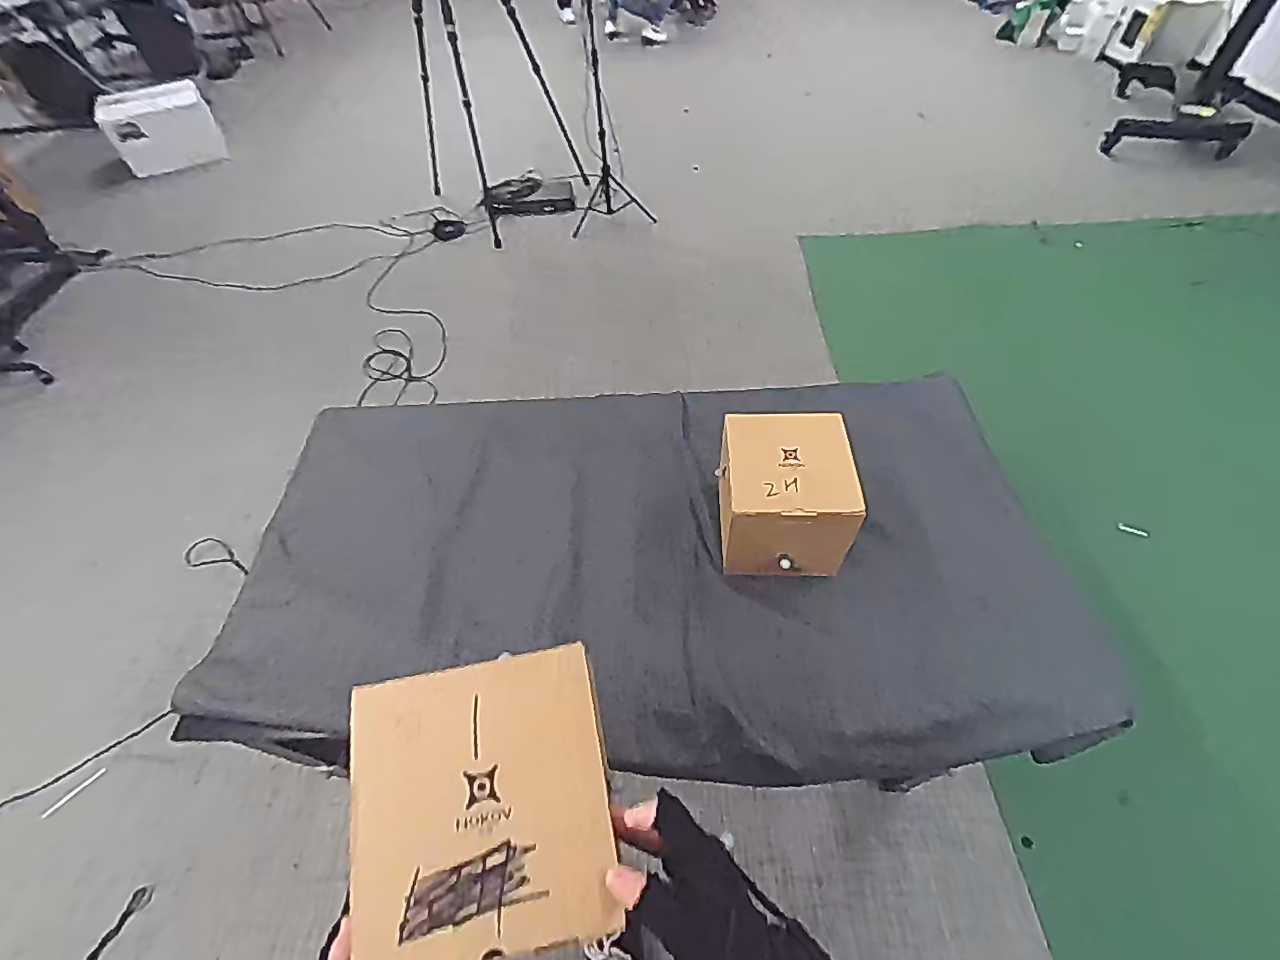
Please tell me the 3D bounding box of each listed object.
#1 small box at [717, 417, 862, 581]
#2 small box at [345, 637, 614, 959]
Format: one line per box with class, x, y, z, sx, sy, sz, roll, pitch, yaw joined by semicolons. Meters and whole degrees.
small box;0.201;0.029;0.785;0.168;0.176;0.179;0;53;4
small box;-0.113;0.236;0.433;0.168;0.176;0.179;-9;68;-7
